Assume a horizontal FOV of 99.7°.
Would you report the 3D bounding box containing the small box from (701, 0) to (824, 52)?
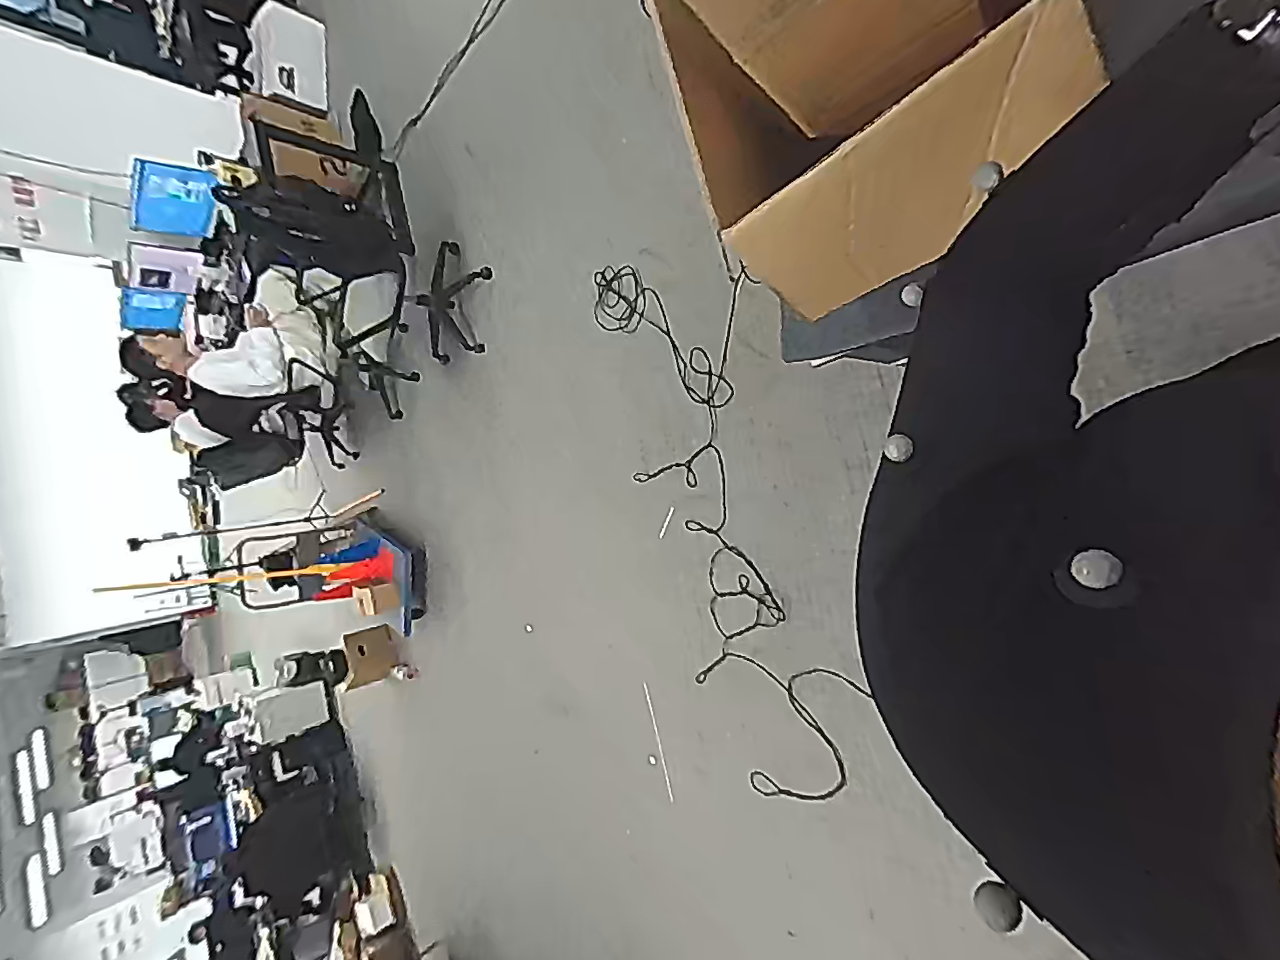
[{"bbox_3d":[0.085,-0.465,0.375,0.168,0.176,0.179,-18,82,39],"label":"small box"}]
